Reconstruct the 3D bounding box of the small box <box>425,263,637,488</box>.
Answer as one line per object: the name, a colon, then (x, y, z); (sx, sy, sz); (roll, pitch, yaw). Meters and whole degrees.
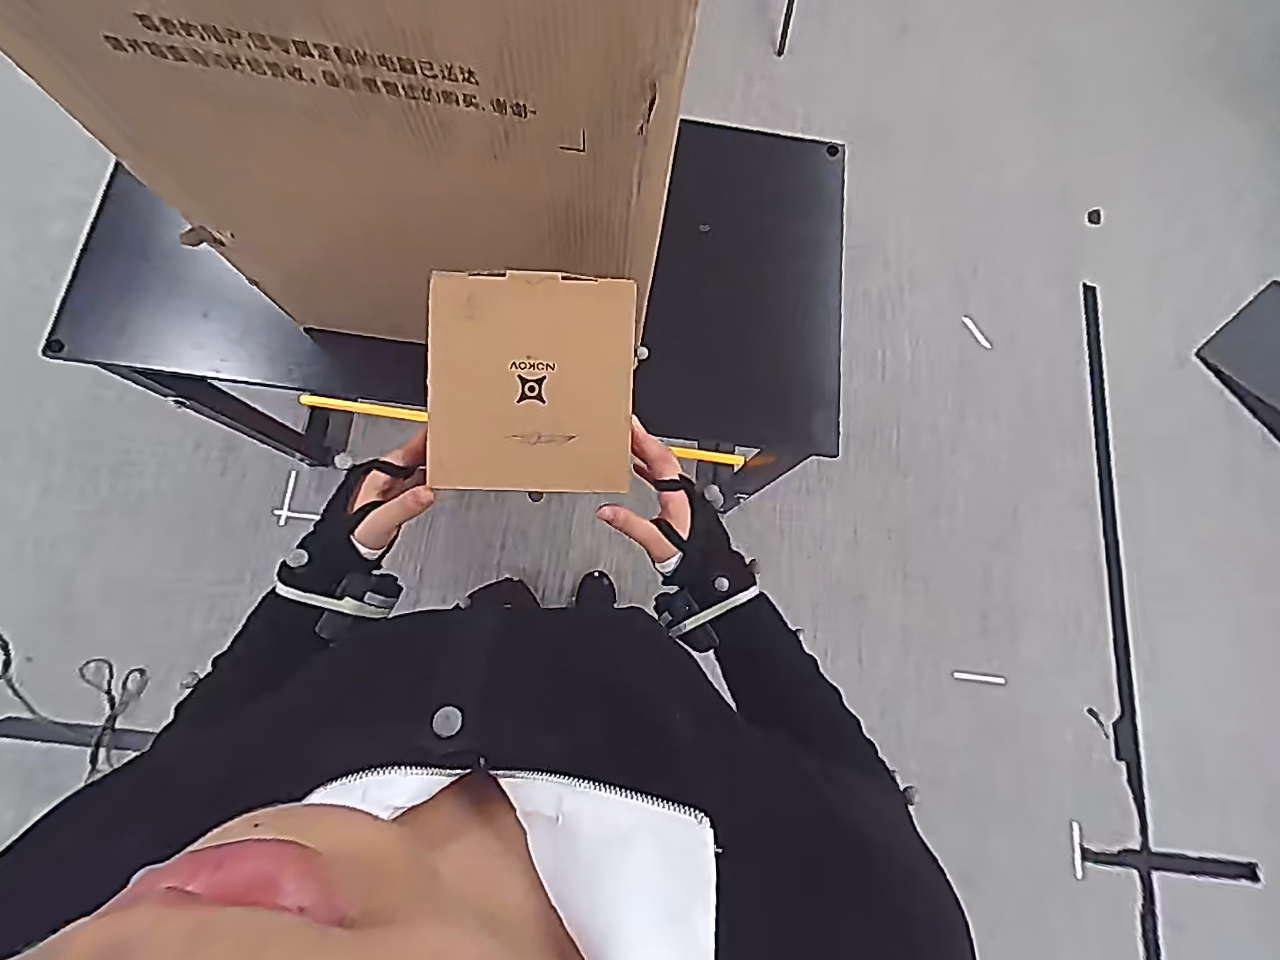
small box: (-0.092, -0.085, 0.514); (0.168, 0.176, 0.179); (2, 92, -3)
